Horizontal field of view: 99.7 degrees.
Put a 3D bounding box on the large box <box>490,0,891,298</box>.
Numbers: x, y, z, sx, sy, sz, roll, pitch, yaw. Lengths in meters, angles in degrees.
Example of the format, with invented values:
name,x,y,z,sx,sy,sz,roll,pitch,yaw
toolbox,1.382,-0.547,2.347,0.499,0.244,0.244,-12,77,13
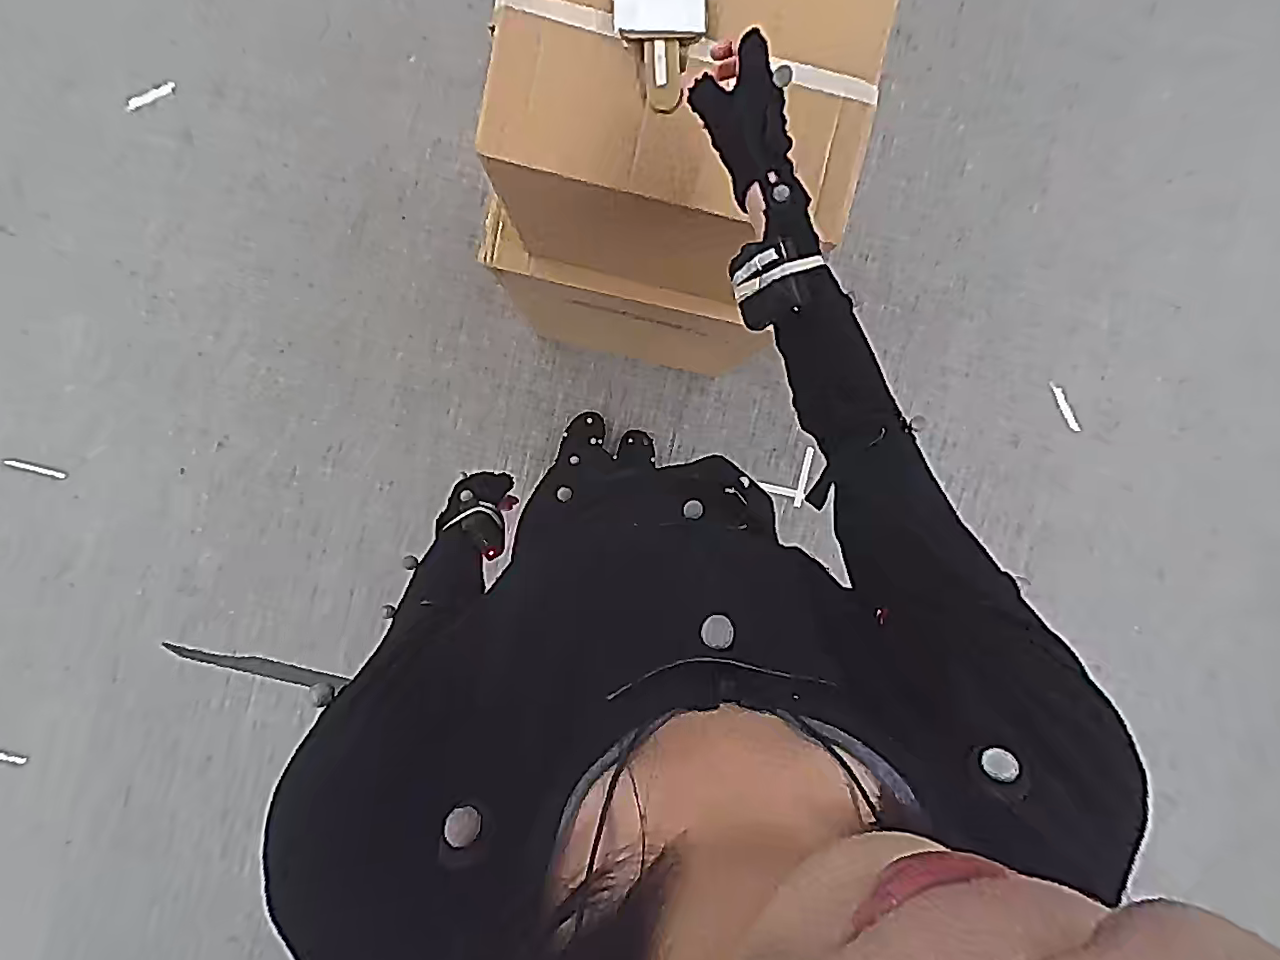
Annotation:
name,x,y,z,sx,sy,sz,roll,pitch,yaw
large box,0.050,-0.474,0.729,0.408,0.320,0.320,12,94,-4
